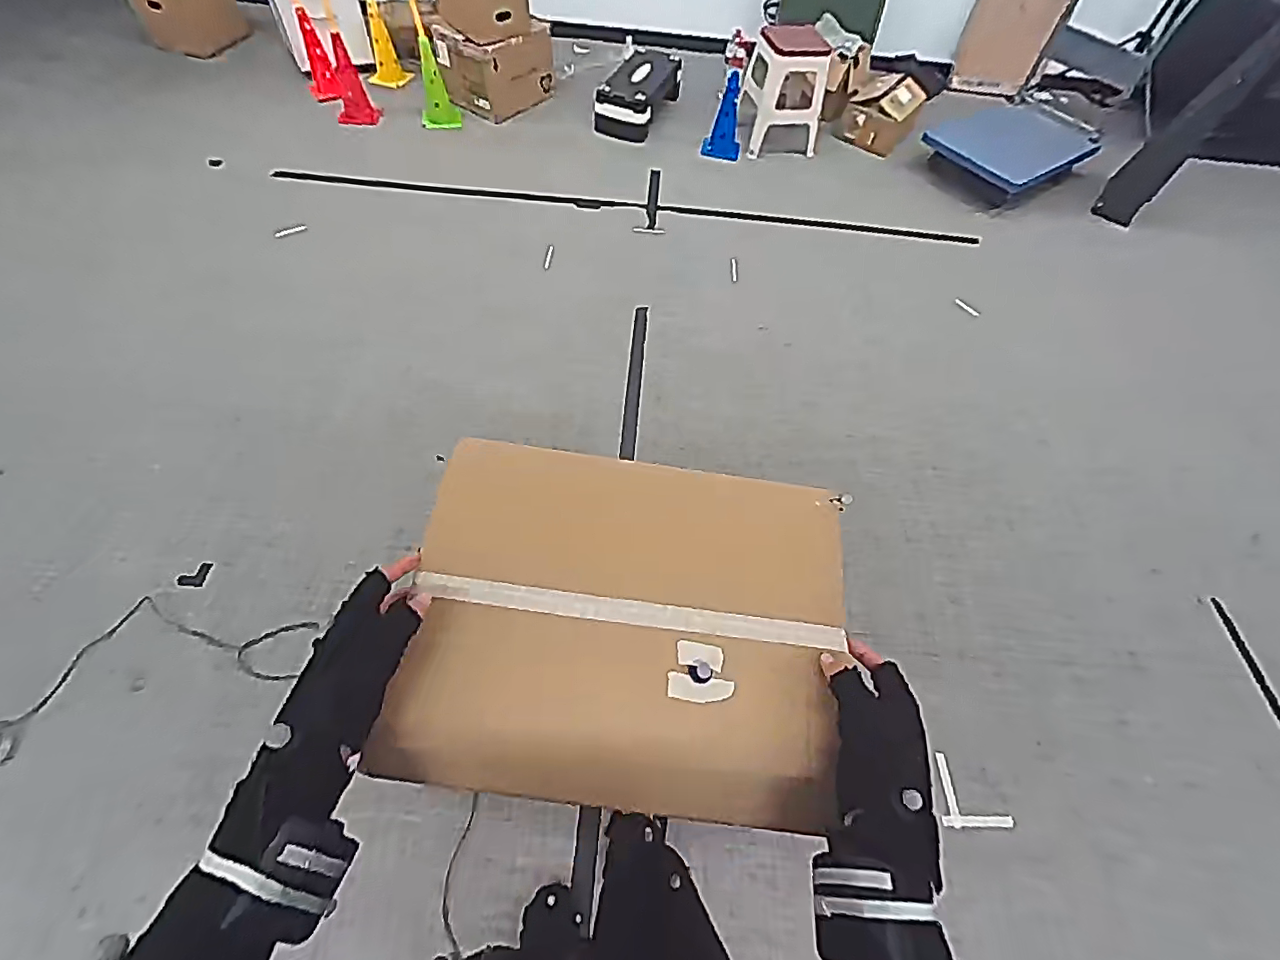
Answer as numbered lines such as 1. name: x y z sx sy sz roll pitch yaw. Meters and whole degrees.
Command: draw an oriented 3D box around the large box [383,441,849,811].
1. large box: -0.017 0.184 0.649 0.408 0.320 0.320 9 64 -2
